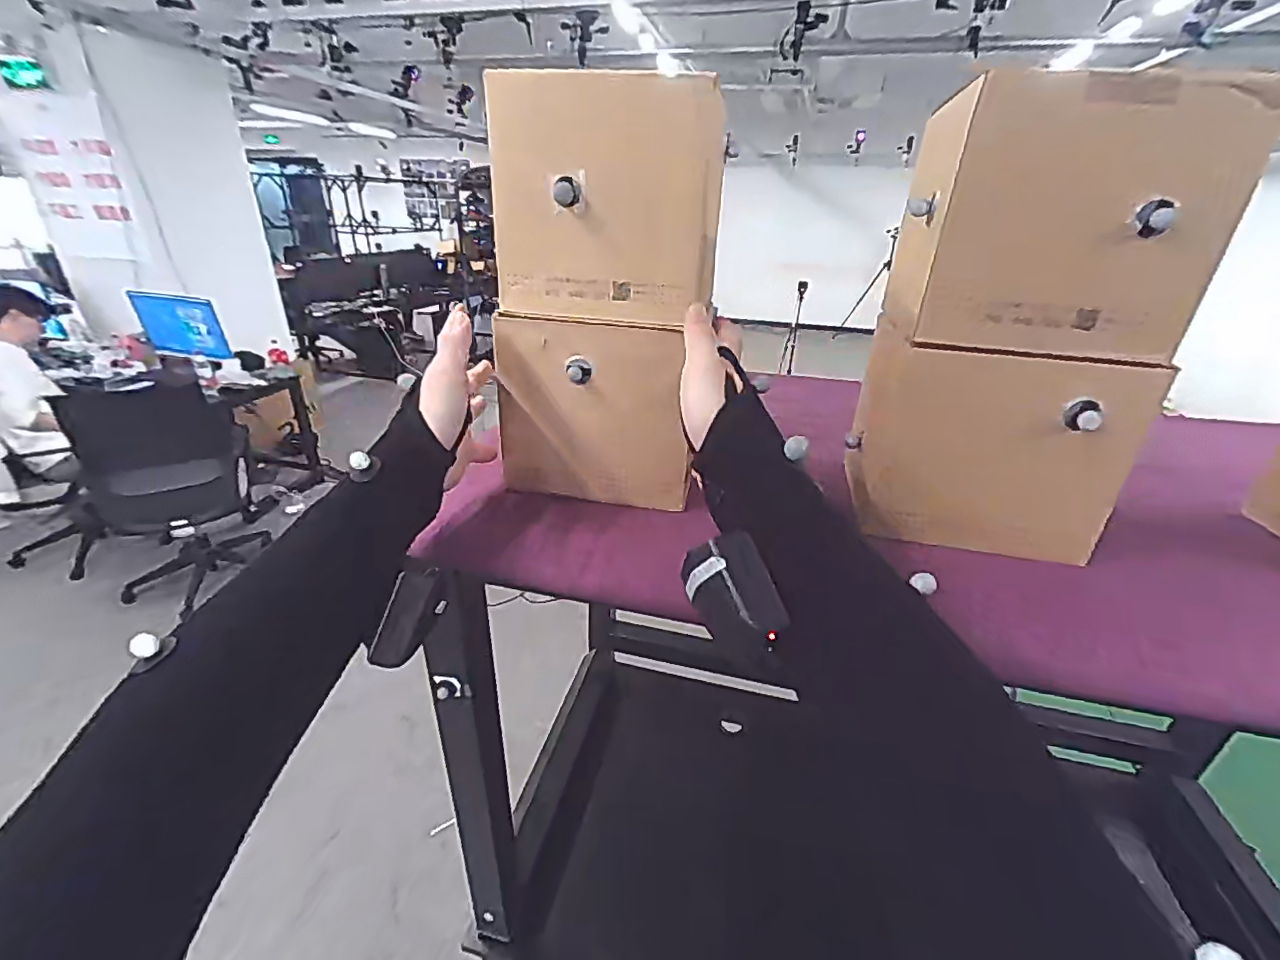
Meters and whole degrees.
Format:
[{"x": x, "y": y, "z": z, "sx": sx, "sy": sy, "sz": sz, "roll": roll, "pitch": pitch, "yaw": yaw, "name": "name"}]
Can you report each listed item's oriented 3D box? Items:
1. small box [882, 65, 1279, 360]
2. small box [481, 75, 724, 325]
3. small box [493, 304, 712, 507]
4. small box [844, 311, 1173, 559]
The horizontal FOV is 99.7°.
[{"x": 0.301, "y": -0.196, "z": 0.420, "sx": 0.168, "sy": 0.176, "sz": 0.179, "roll": 9, "pitch": 26, "yaw": 13, "name": "small box"}, {"x": -0.019, "y": -0.235, "z": 0.479, "sx": 0.168, "sy": 0.176, "sz": 0.179, "roll": 7, "pitch": 26, "yaw": 9, "name": "small box"}, {"x": -0.028, "y": -0.087, "z": 0.545, "sx": 0.179, "sy": 0.176, "sz": 0.168, "roll": 7, "pitch": 27, "yaw": 9, "name": "small box"}, {"x": 0.296, "y": -0.048, "z": 0.487, "sx": 0.179, "sy": 0.176, "sz": 0.168, "roll": 8, "pitch": 26, "yaw": 13, "name": "small box"}]
